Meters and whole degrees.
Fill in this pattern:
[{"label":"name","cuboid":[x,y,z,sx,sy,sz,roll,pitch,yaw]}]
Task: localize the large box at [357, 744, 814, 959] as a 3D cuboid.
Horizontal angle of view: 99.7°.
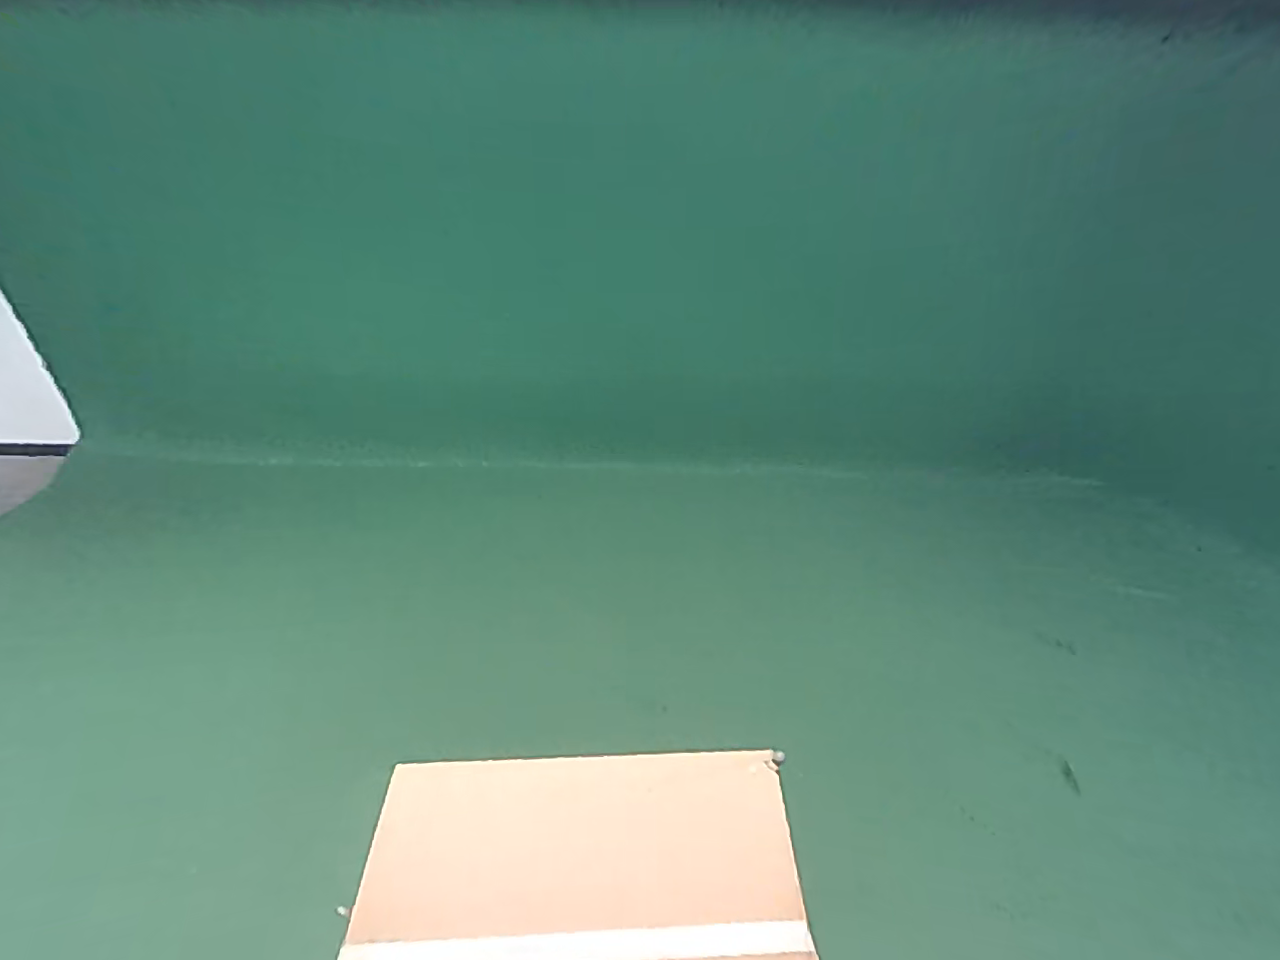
[{"label":"large box","cuboid":[-0.051,0.512,0.580,0.408,0.320,0.320,-1,44,-2]}]
